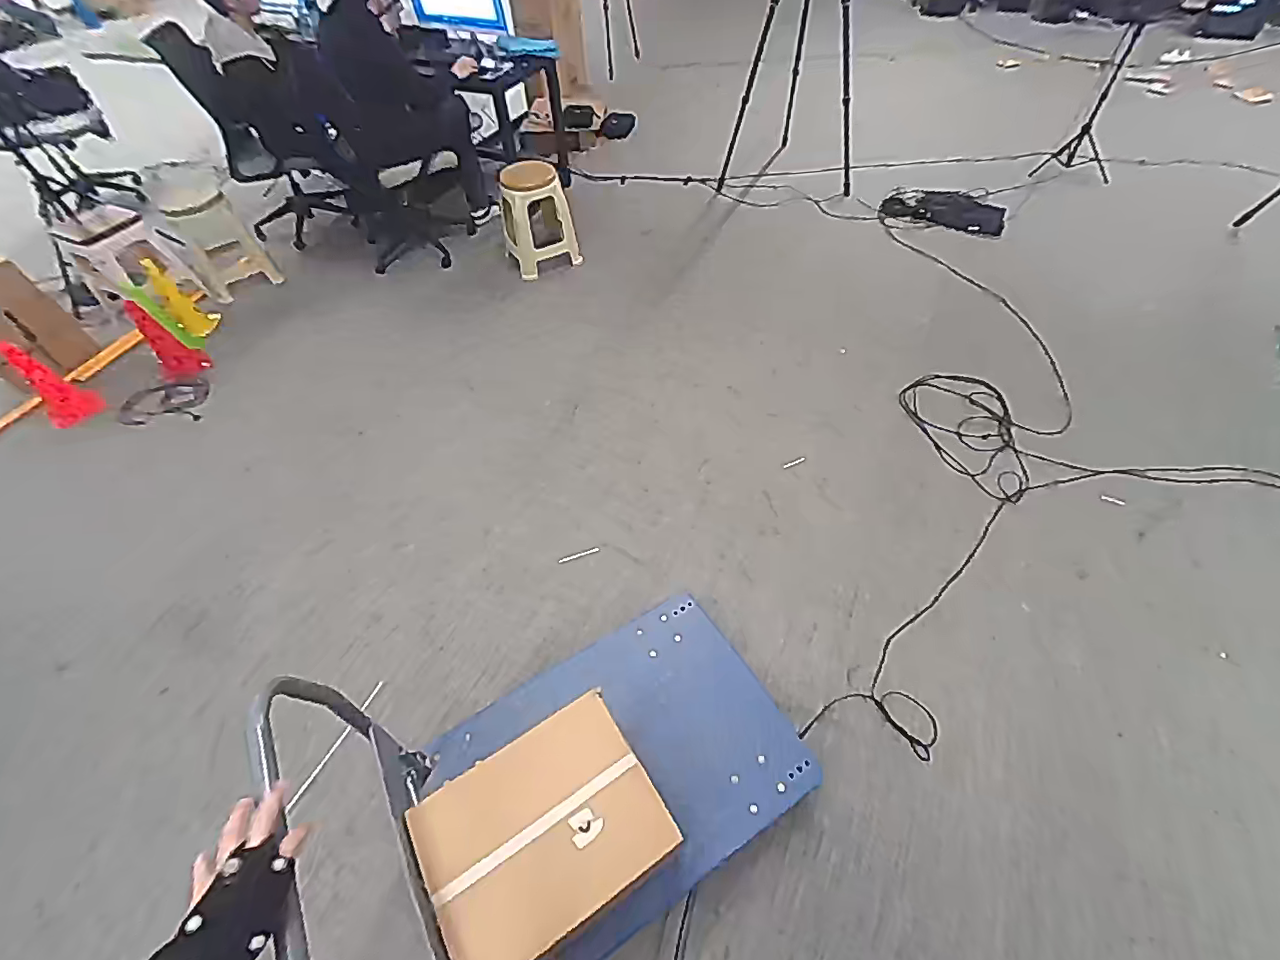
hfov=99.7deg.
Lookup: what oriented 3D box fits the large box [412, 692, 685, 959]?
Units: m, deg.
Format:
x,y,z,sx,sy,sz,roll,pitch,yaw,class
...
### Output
x,y,z,sx,sy,sz,roll,pitch,yaw,class
-0.163,0.709,1.069,0.408,0.320,0.320,-27,56,-19,large box
